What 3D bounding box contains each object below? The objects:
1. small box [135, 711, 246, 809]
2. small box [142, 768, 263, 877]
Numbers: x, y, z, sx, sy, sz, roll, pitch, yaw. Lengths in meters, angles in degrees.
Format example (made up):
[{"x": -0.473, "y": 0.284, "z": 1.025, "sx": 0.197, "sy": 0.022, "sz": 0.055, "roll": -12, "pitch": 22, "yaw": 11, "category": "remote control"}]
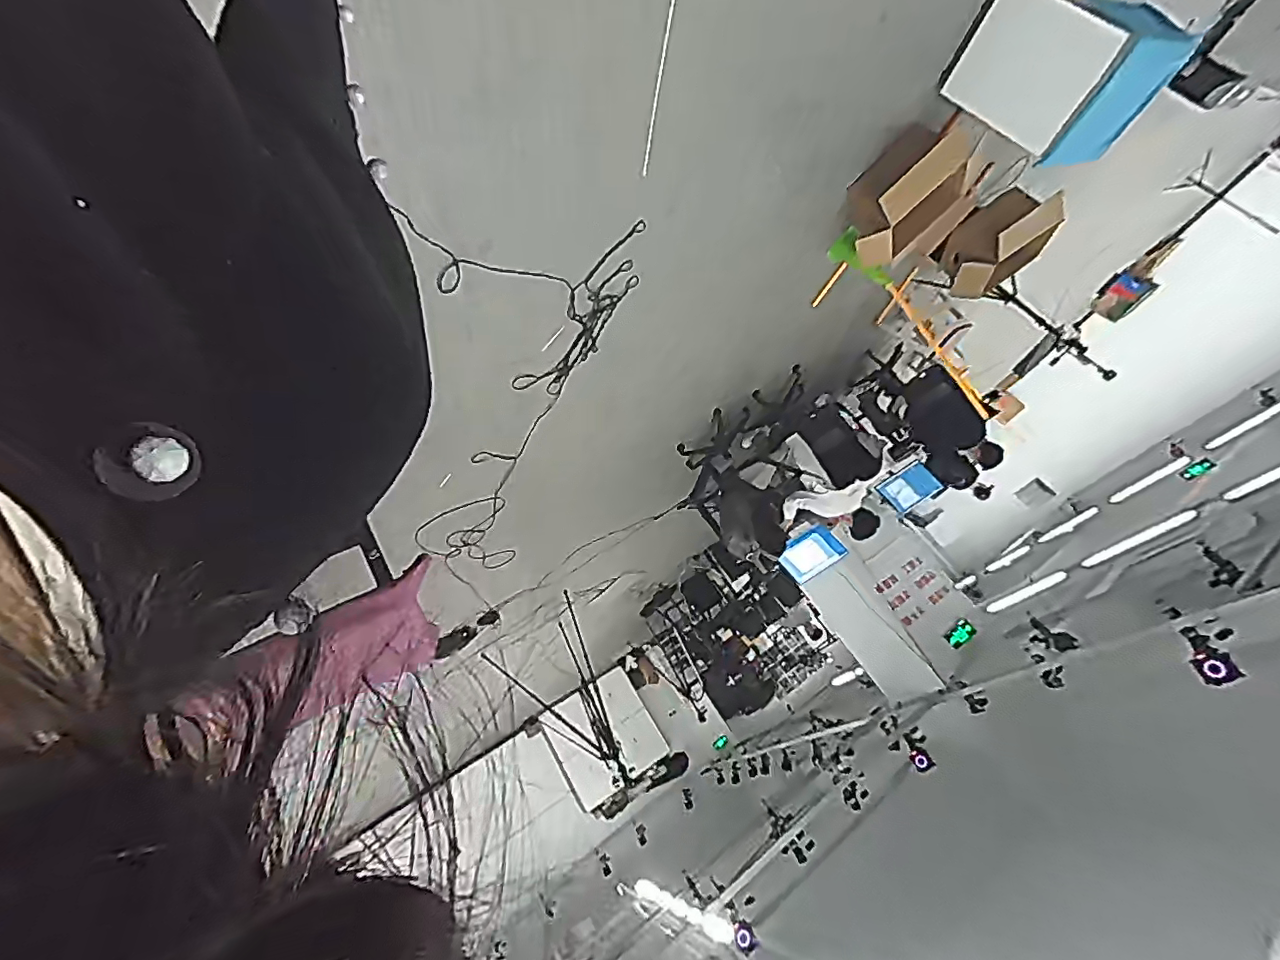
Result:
[{"x": -1.221, "y": 0.759, "z": 1.466, "sx": 0.179, "sy": 0.176, "sz": 0.168, "roll": -26, "pitch": 158, "yaw": -25, "category": "small box"}, {"x": -1.125, "y": 0.873, "z": 1.394, "sx": 0.179, "sy": 0.176, "sz": 0.168, "roll": -26, "pitch": 157, "yaw": -24, "category": "small box"}]
